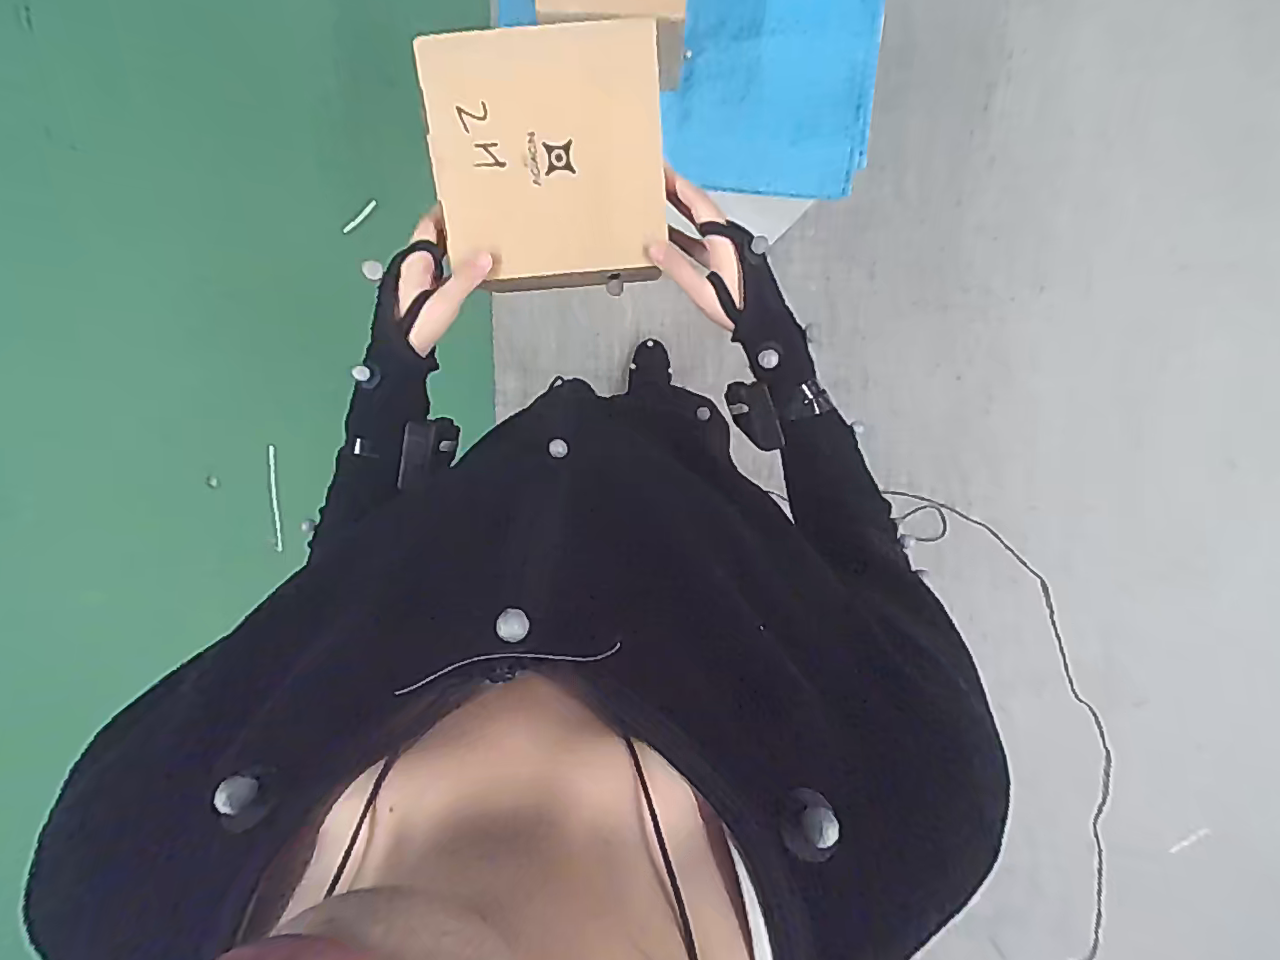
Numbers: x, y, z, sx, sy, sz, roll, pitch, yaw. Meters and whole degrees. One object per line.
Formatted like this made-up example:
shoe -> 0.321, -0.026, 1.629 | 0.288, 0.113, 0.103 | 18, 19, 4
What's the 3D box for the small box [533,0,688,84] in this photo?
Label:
small box -> -0.028, -0.626, 0.671 | 0.179, 0.176, 0.168 | 4, 102, 1
